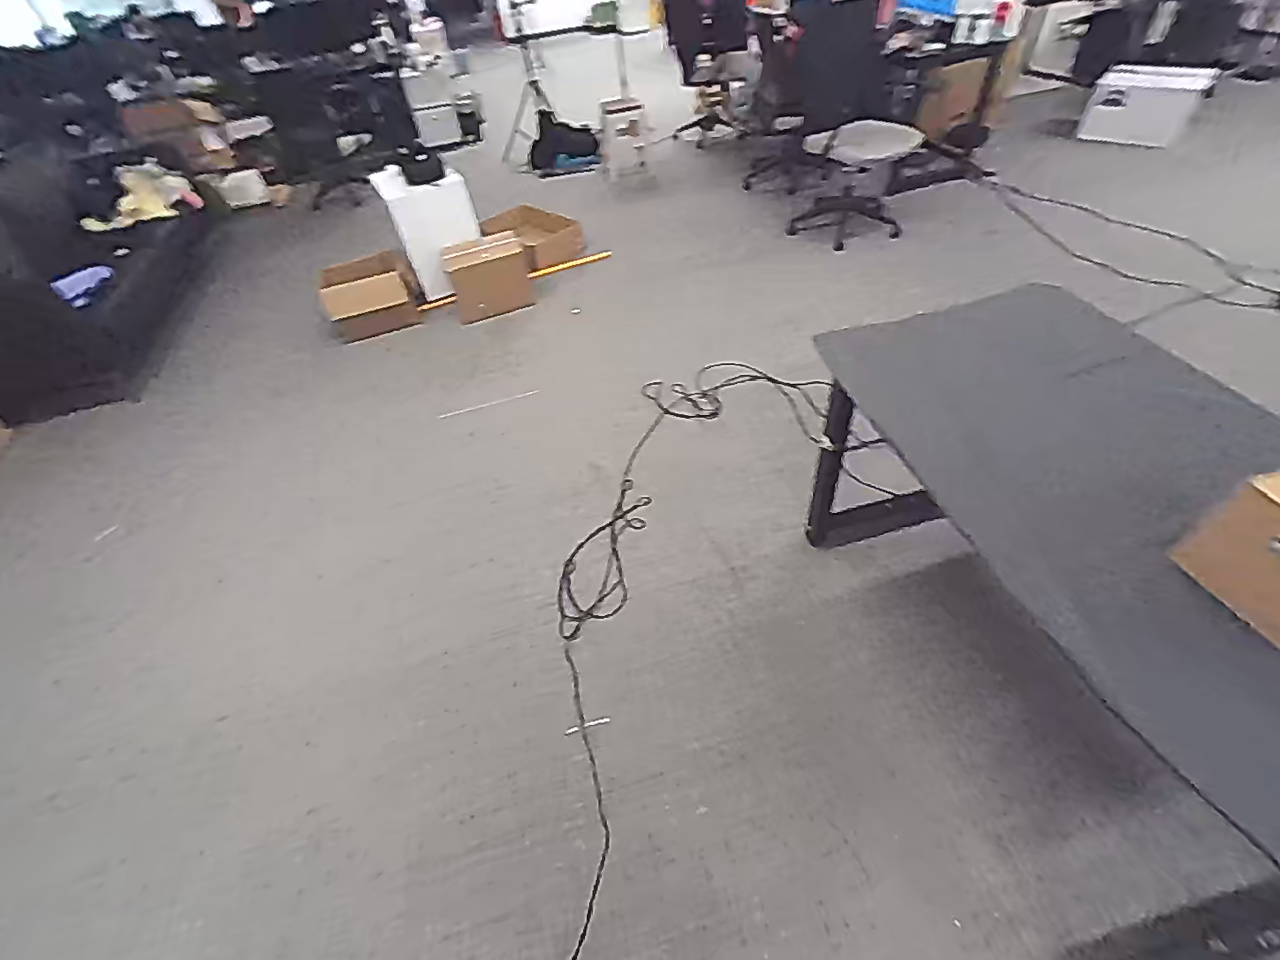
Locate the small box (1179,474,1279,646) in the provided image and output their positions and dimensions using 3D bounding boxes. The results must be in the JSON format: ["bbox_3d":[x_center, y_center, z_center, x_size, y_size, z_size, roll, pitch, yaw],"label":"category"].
[{"bbox_3d":[0.875,0.098,0.691,0.168,0.176,0.179,-16,47,-6],"label":"small box"}]
